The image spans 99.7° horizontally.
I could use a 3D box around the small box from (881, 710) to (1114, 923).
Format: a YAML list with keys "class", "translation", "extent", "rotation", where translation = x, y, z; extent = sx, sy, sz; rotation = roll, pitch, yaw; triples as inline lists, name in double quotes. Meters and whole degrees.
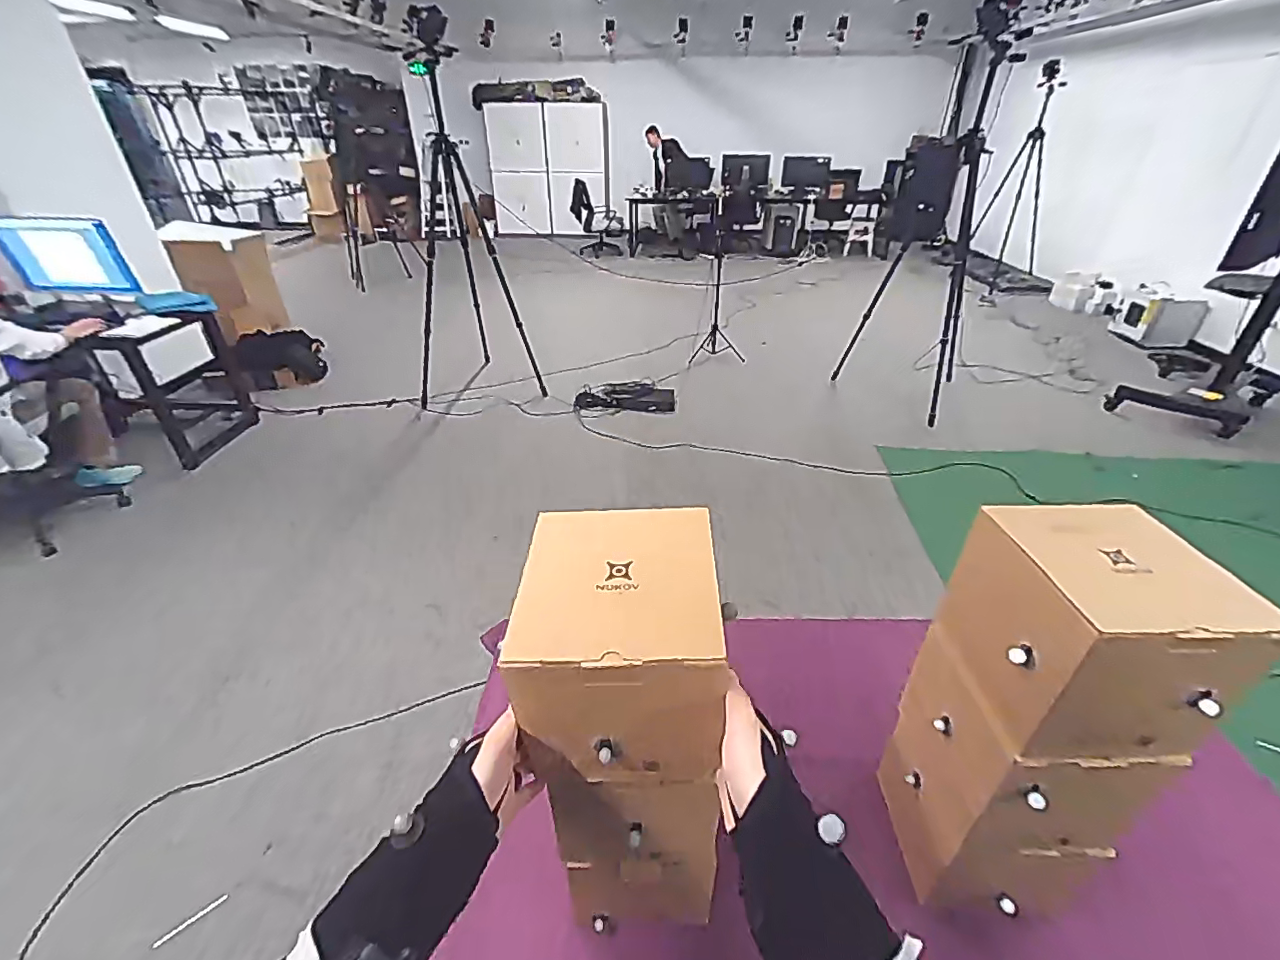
- class: "small box"
  translation: [0.432, 0.425, 0.695]
  extent: [0.168, 0.176, 0.179]
  rotation: [1, 33, 3]

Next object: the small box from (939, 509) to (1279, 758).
- class: "small box"
  translation: [0.428, 0.145, 0.525]
  extent: [0.168, 0.176, 0.179]
  rotation: [0, 32, 0]

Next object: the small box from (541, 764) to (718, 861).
- class: "small box"
  translation: [-0.006, 0.294, 0.602]
  extent: [0.168, 0.176, 0.179]
  rotation: [1, 34, 1]

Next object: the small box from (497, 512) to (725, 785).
- class: "small box"
  translation: [-0.016, 0.148, 0.494]
  extent: [0.168, 0.176, 0.179]
  rotation: [-2, 36, 3]

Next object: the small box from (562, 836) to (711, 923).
- class: "small box"
  translation: [-0.002, 0.433, 0.690]
  extent: [0.168, 0.176, 0.179]
  rotation: [0, 32, 0]
